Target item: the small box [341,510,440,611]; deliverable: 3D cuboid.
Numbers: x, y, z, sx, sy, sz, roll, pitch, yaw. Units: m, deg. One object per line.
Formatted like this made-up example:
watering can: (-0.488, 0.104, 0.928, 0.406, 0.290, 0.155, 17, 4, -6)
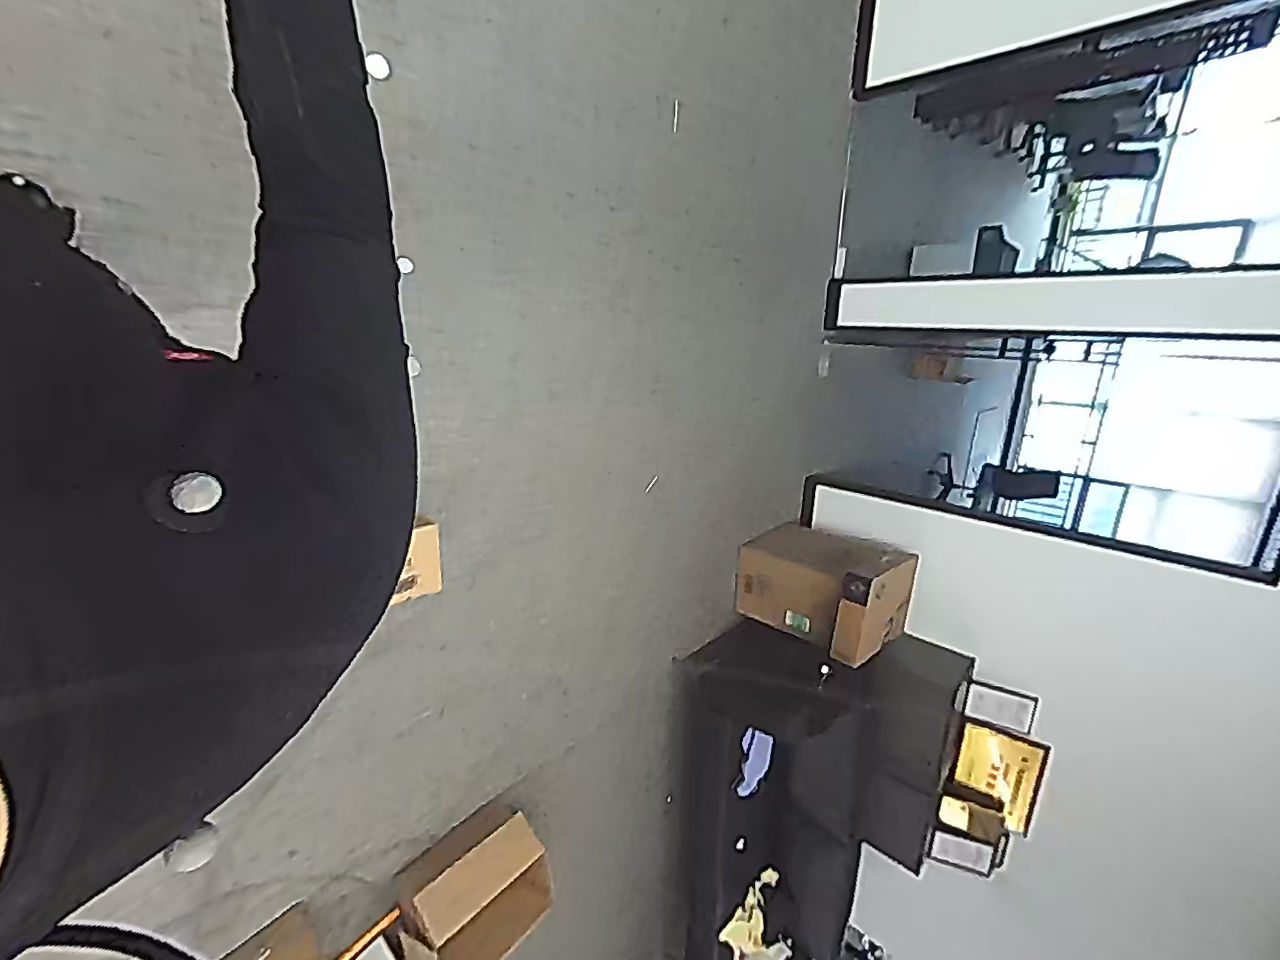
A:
small box: (-0.602, 0.186, 1.304, 0.168, 0.176, 0.179, -12, 111, -46)
